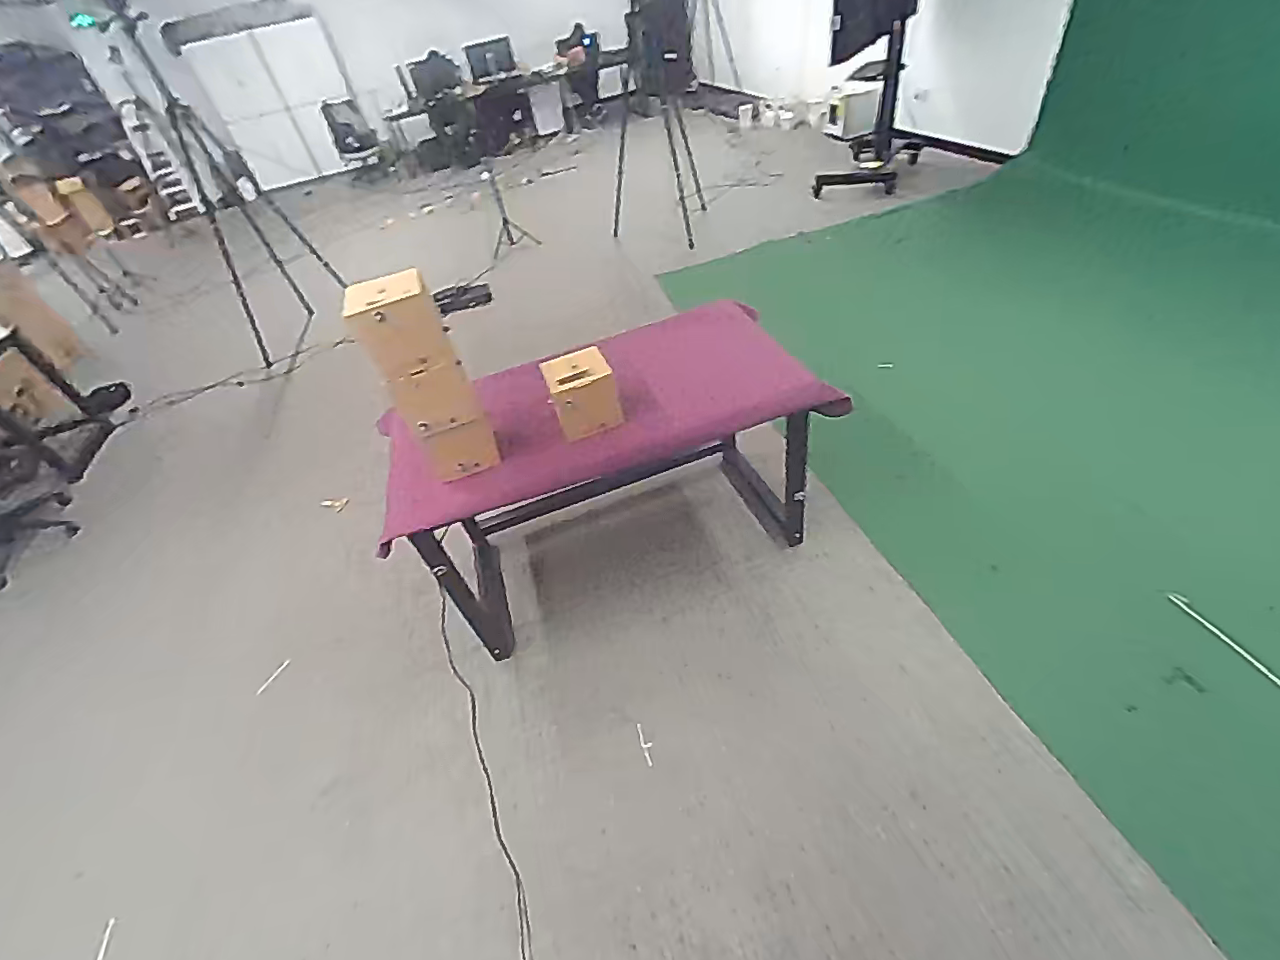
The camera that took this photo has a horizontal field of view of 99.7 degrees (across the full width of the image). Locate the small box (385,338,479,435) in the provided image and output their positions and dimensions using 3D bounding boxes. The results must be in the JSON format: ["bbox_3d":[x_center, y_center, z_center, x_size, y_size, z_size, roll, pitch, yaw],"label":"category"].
[{"bbox_3d":[-0.515,-0.231,1.351,0.168,0.176,0.179,-21,42,-7],"label":"small box"}]

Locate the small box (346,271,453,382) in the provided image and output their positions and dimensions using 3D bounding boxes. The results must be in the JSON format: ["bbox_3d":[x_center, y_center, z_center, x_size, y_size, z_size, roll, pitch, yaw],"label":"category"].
[{"bbox_3d":[-0.547,-0.353,1.245,0.168,0.176,0.179,-21,42,-7],"label":"small box"}]

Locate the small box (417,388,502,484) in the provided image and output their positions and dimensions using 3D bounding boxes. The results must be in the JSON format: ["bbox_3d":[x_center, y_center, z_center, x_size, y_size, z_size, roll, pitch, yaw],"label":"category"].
[{"bbox_3d":[-0.490,-0.120,1.468,0.168,0.176,0.179,-21,44,-7],"label":"small box"}]
